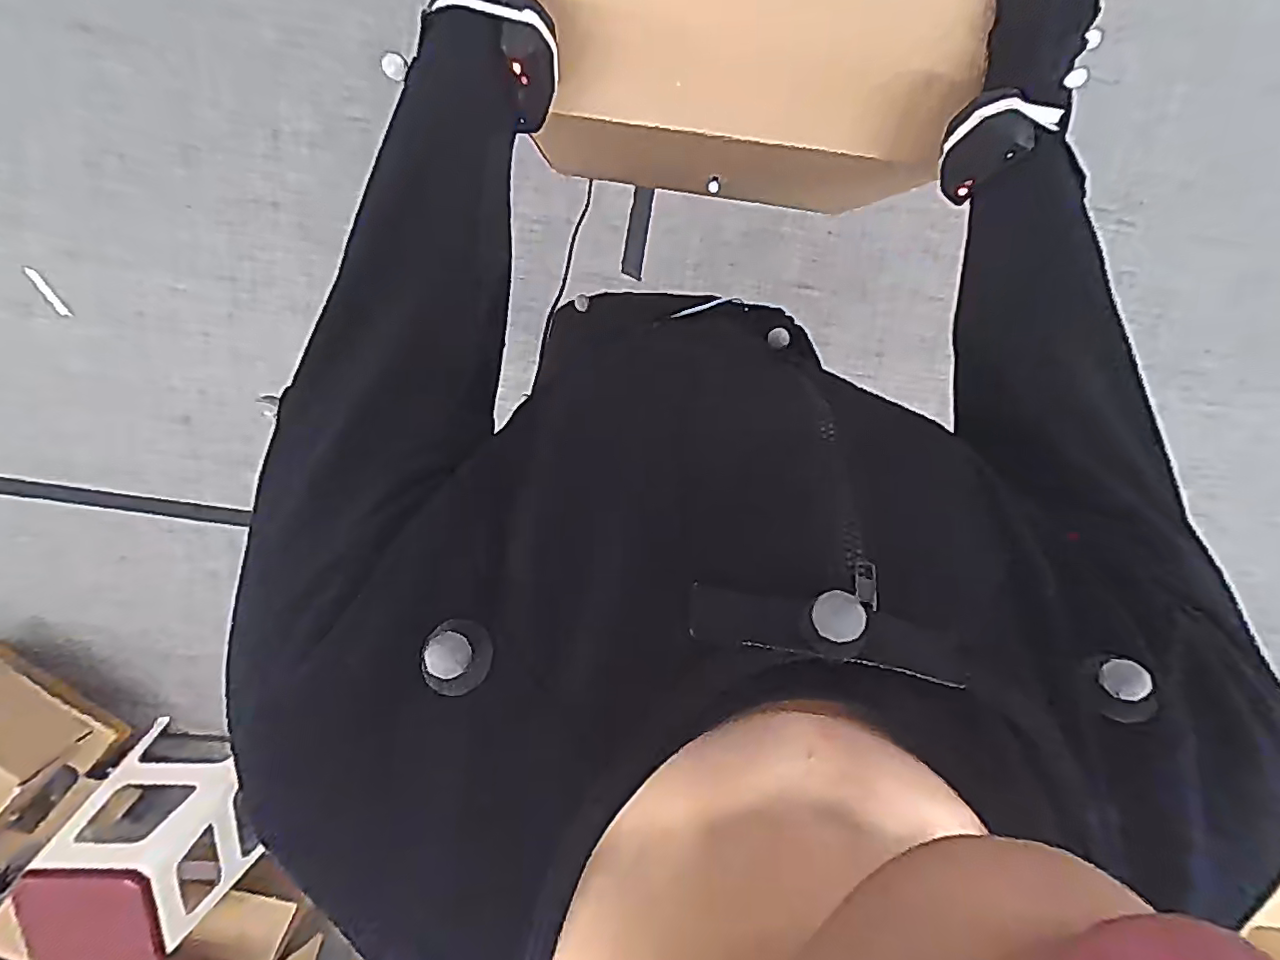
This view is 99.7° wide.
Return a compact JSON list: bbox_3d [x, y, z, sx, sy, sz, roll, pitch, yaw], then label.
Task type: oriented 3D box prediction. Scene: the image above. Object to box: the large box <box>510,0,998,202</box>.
[{"bbox_3d":[0.105,-0.500,0.564,0.408,0.320,0.320,7,109,-2],"label":"large box"}]
